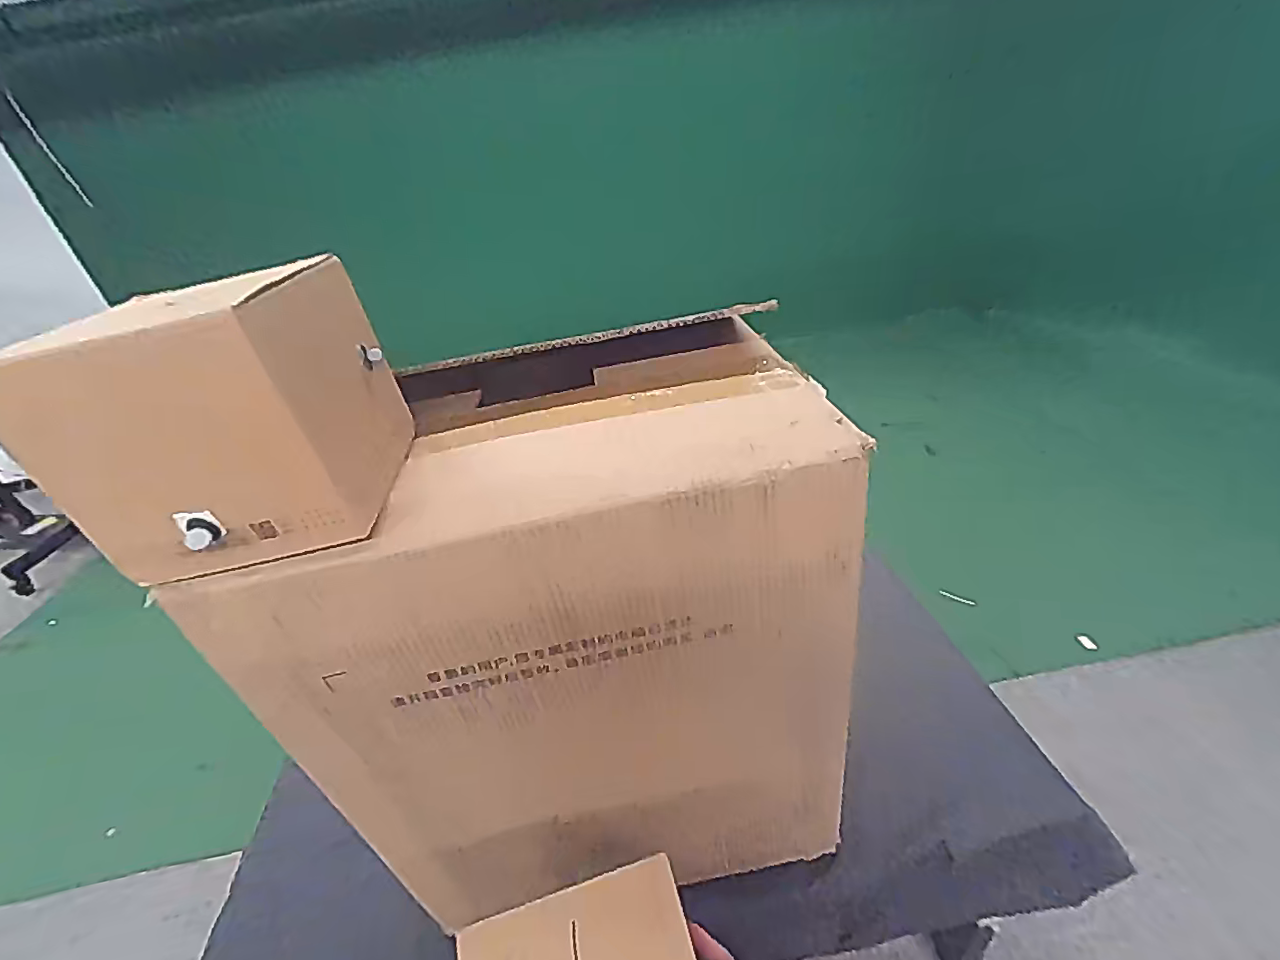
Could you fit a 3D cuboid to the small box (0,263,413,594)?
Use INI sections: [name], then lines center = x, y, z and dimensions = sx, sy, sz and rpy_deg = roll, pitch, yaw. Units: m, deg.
[small box]
center = -0.293, -0.046, 0.408
dimensions = 0.168, 0.176, 0.179
rpy_deg = -15, 33, -2
